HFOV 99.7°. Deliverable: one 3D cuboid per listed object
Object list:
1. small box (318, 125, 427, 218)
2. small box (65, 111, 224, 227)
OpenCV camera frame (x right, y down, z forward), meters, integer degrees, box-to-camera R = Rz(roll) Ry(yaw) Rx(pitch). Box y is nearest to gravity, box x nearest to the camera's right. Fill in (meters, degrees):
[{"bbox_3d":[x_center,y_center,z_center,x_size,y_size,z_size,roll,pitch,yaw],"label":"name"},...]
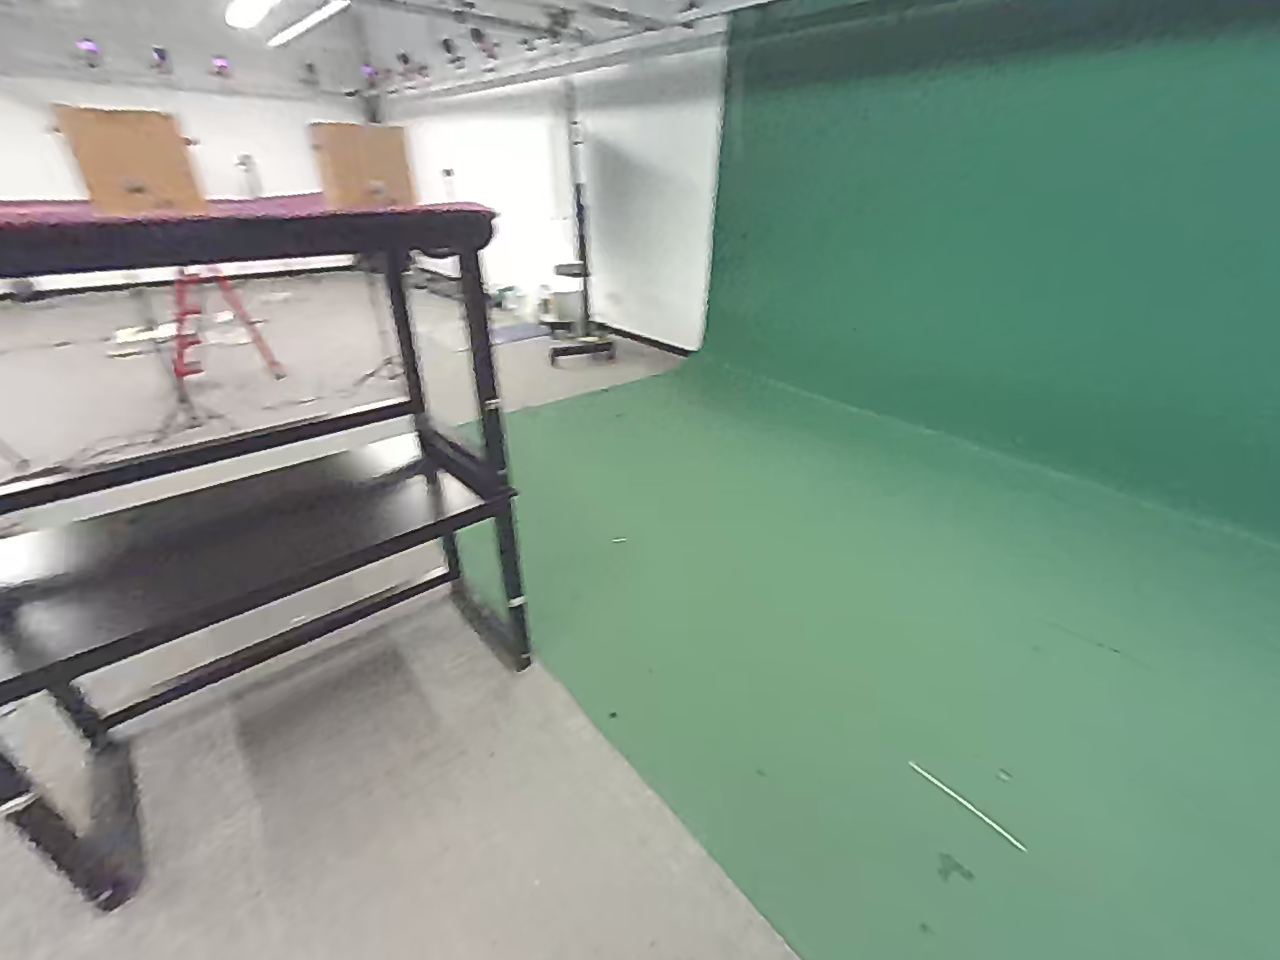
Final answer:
[{"bbox_3d":[-0.595,-0.684,1.206,0.168,0.176,0.179,-20,36,-30],"label":"small box"},{"bbox_3d":[-0.894,-0.563,0.994,0.168,0.176,0.179,-20,35,-31],"label":"small box"}]
